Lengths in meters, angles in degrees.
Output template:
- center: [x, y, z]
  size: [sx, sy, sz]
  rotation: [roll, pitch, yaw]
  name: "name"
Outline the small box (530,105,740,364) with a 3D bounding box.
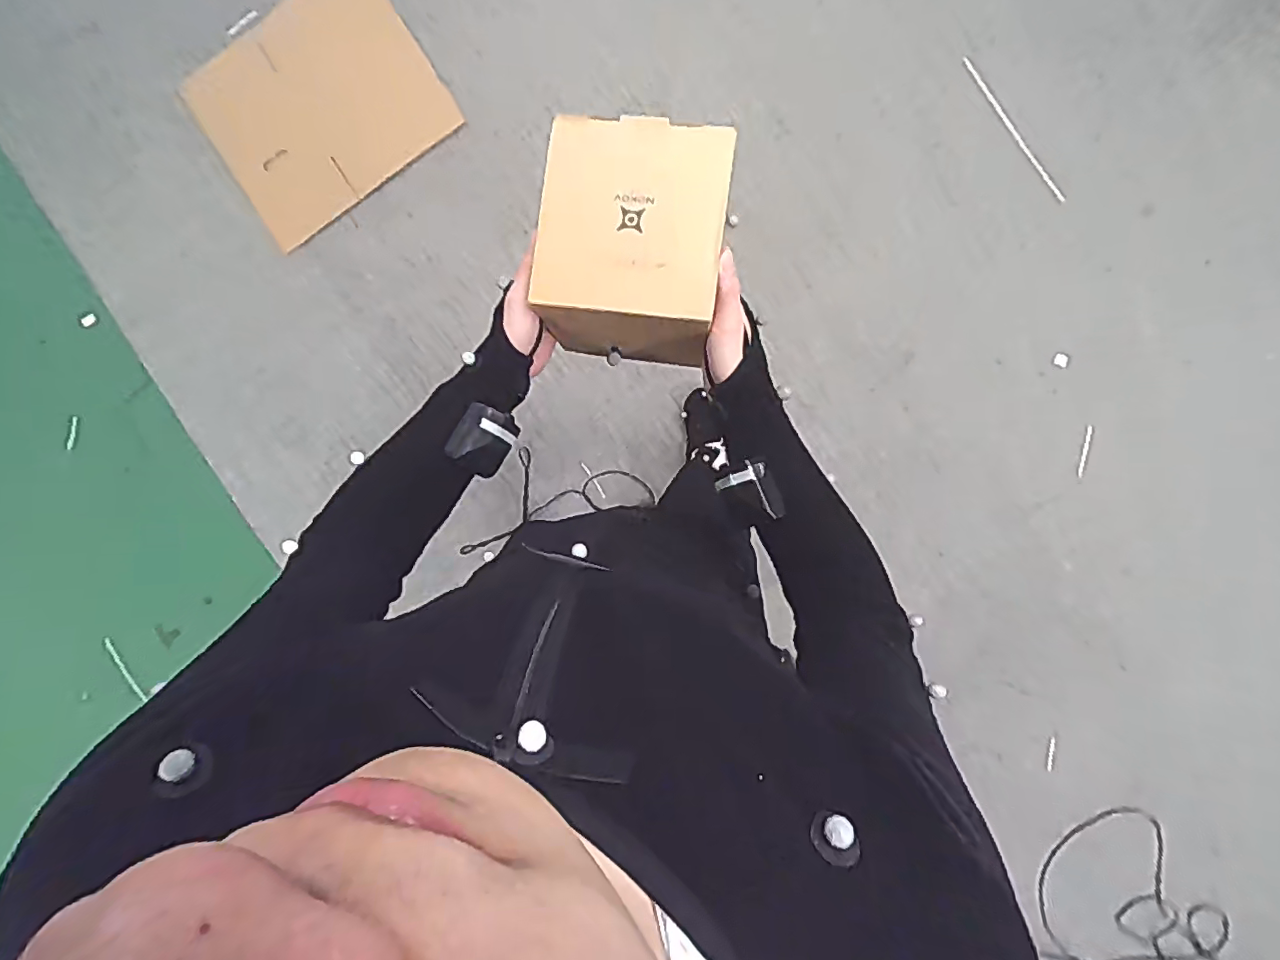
- center: [0.000, -0.232, 0.548]
  size: [0.168, 0.176, 0.179]
  rotation: [7, 88, 5]
  name: "small box"
